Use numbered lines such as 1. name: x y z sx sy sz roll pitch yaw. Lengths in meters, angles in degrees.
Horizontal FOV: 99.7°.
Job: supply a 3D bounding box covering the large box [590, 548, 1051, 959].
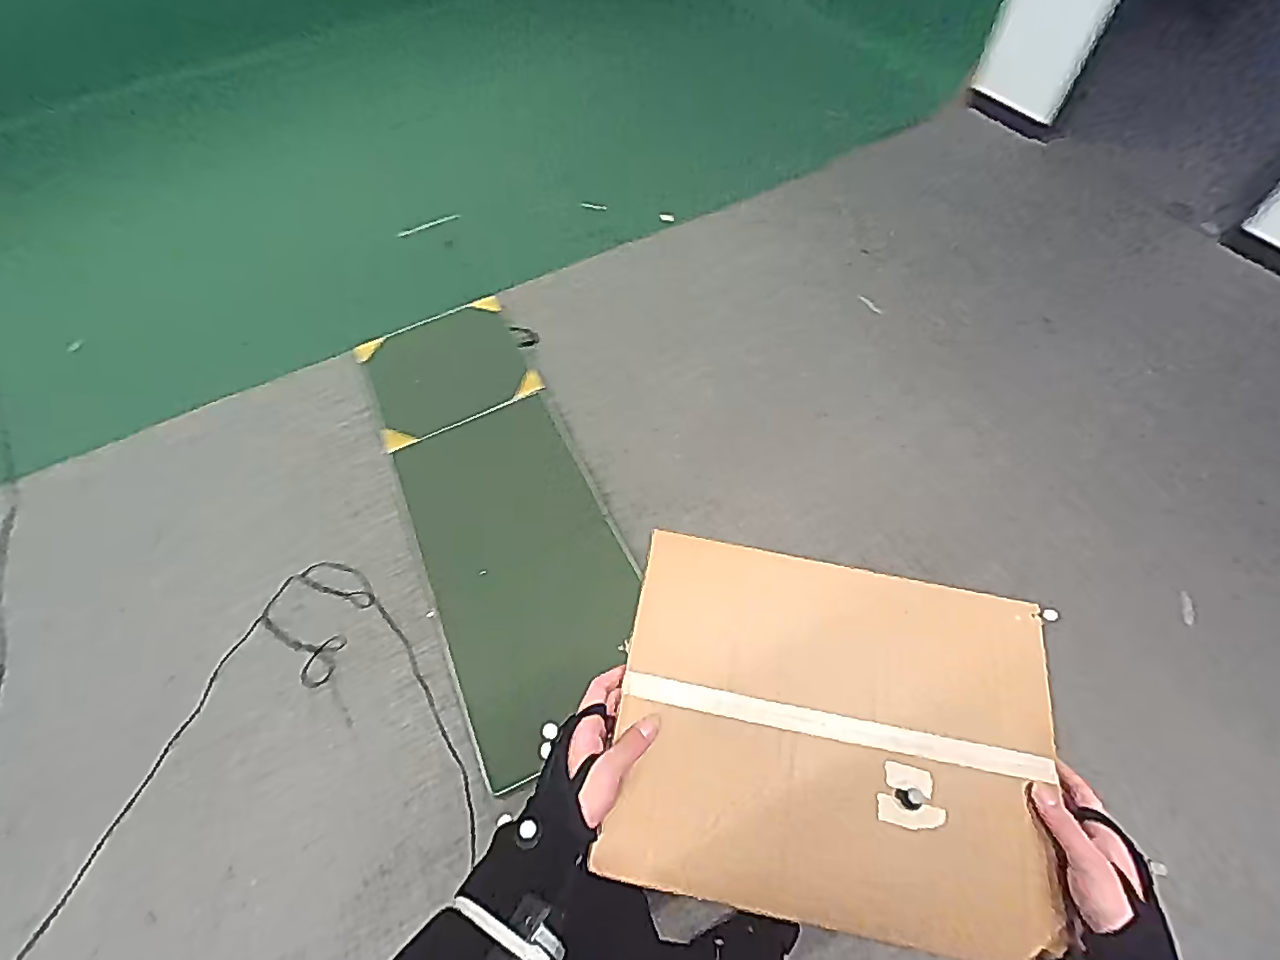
1. large box: 0.167 0.300 0.655 0.408 0.320 0.320 10 67 2
